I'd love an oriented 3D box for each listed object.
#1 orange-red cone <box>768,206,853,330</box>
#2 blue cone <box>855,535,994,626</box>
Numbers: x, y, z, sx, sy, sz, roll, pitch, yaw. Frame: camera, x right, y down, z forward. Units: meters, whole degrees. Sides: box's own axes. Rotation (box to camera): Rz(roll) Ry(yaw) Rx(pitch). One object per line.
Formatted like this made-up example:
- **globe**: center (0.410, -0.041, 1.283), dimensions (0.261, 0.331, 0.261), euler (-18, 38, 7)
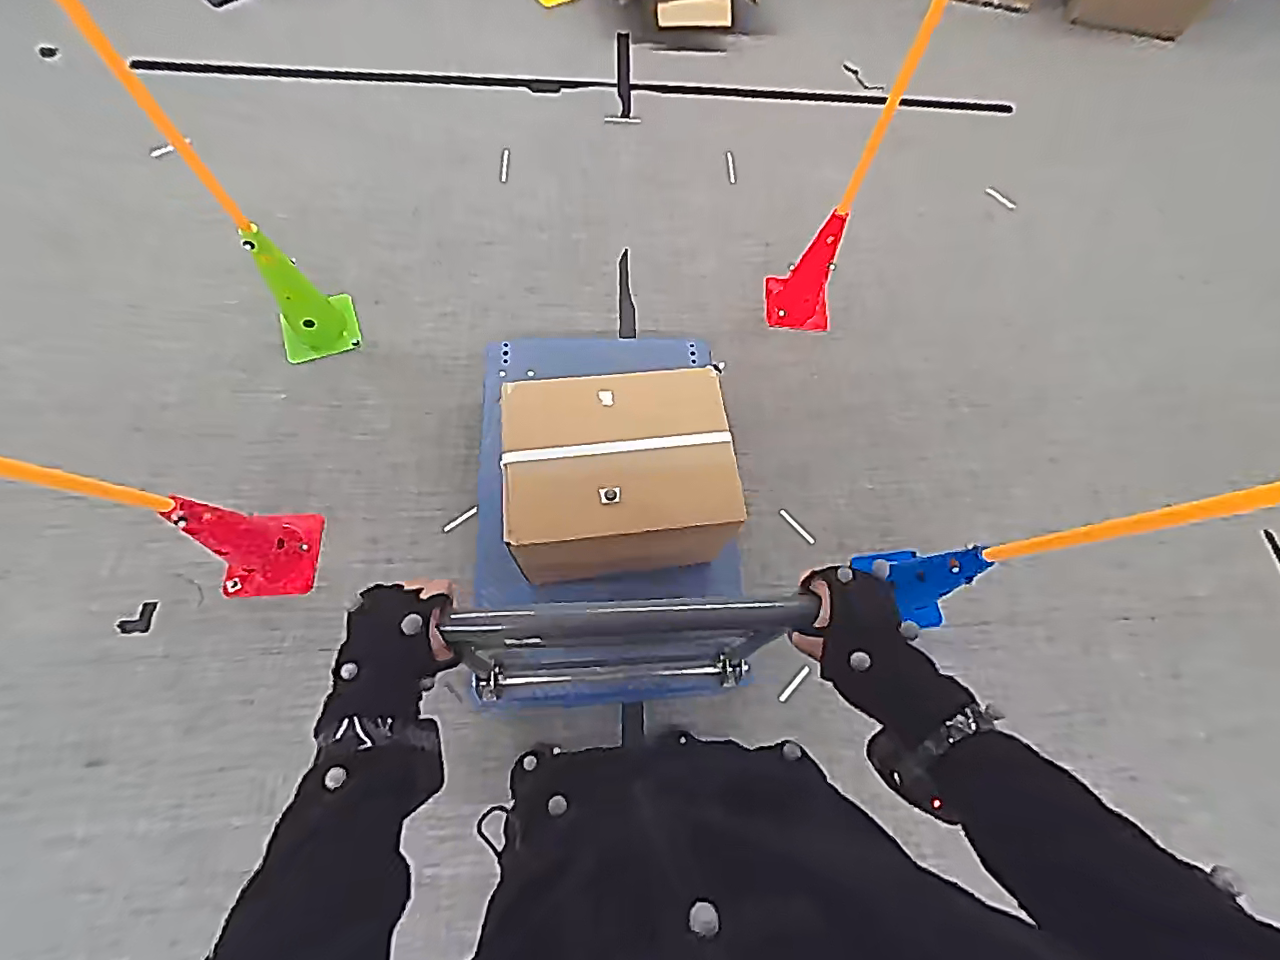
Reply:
- **orange-red cone**: center (0.520, -0.630, 1.556), dimensions (0.199, 0.360, 0.198), euler (6, 68, -3)
- **blue cone**: center (0.674, 0.209, 1.237), dimensions (0.193, 0.380, 0.192), euler (-3, 67, -7)
